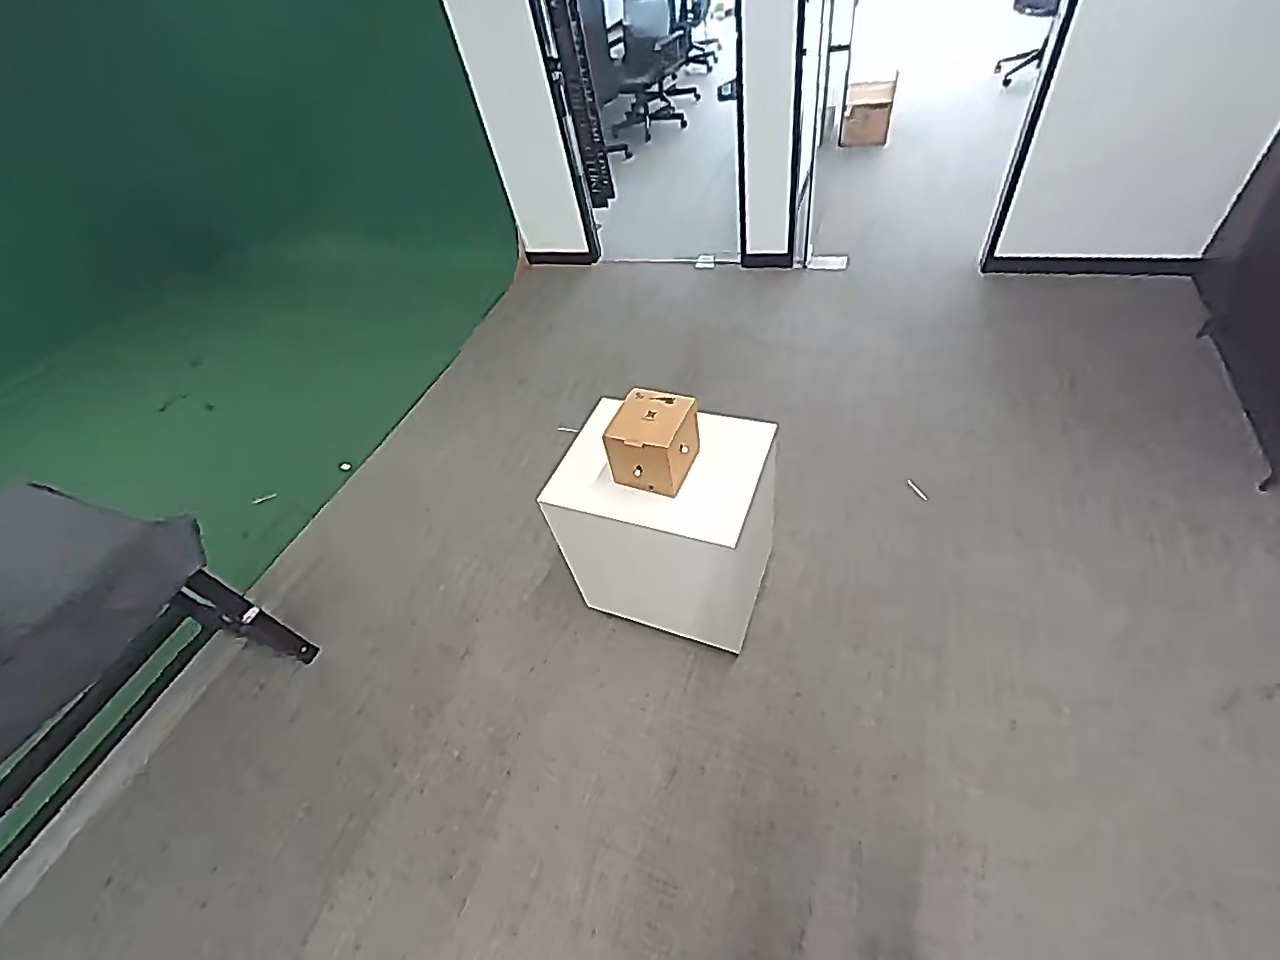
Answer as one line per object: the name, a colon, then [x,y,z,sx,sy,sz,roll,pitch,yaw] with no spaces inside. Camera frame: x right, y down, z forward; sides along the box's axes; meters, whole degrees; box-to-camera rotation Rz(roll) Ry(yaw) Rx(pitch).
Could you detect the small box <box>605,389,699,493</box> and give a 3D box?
small box: [0.039,-0.091,1.302,0.168,0.176,0.179,11,52,21]
